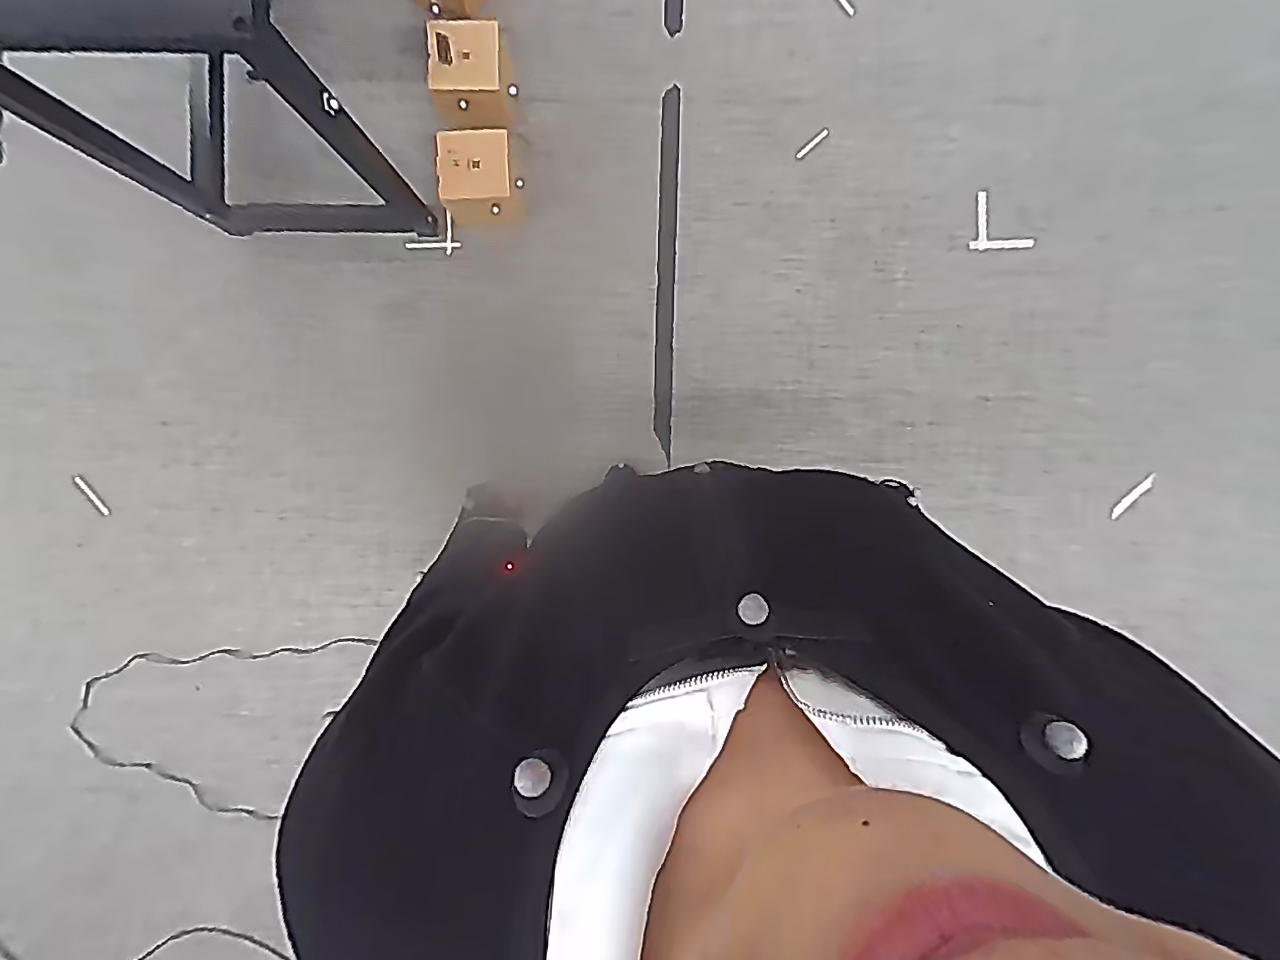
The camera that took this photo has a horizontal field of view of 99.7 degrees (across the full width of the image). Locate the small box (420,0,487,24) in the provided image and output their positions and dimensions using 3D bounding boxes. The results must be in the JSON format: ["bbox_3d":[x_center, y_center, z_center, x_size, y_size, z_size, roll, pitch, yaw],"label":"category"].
[{"bbox_3d":[-0.493,-1.325,1.386,0.168,0.176,0.179,22,93,0],"label":"small box"}]

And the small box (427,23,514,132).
[{"bbox_3d":[-0.431,-1.030,1.396,0.179,0.176,0.168,0,92,-1],"label":"small box"}]
